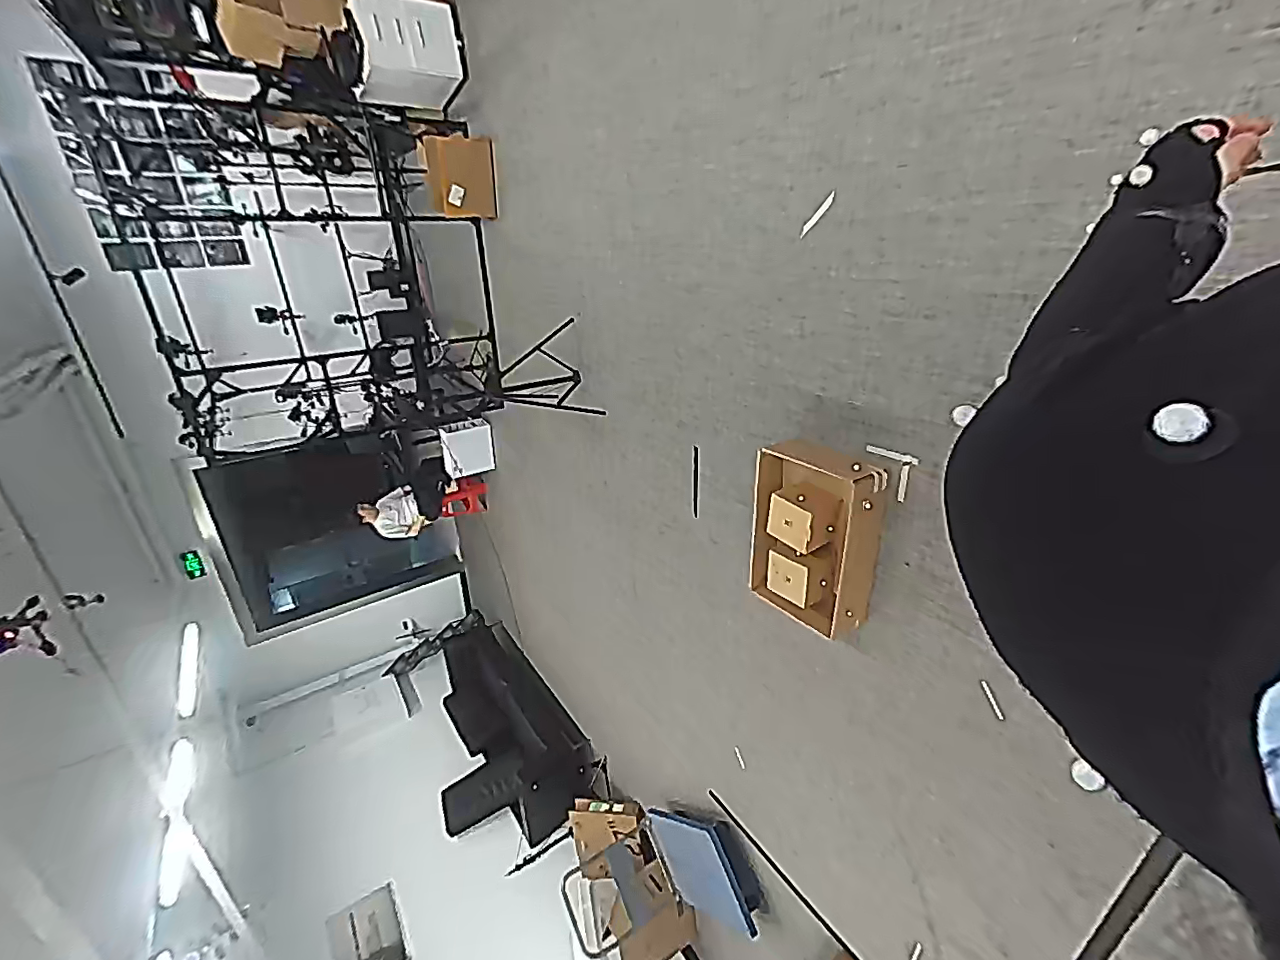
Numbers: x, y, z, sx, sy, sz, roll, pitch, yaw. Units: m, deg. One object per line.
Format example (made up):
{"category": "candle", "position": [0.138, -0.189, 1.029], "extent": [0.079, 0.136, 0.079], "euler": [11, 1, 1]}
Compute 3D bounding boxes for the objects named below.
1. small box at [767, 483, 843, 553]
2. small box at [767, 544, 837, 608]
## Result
{"category": "small box", "position": [0.575, 0.125, 1.891], "extent": [0.179, 0.176, 0.168], "euler": [35, 133, 45]}
{"category": "small box", "position": [0.589, 0.329, 1.963], "extent": [0.179, 0.176, 0.168], "euler": [27, 125, 50]}
